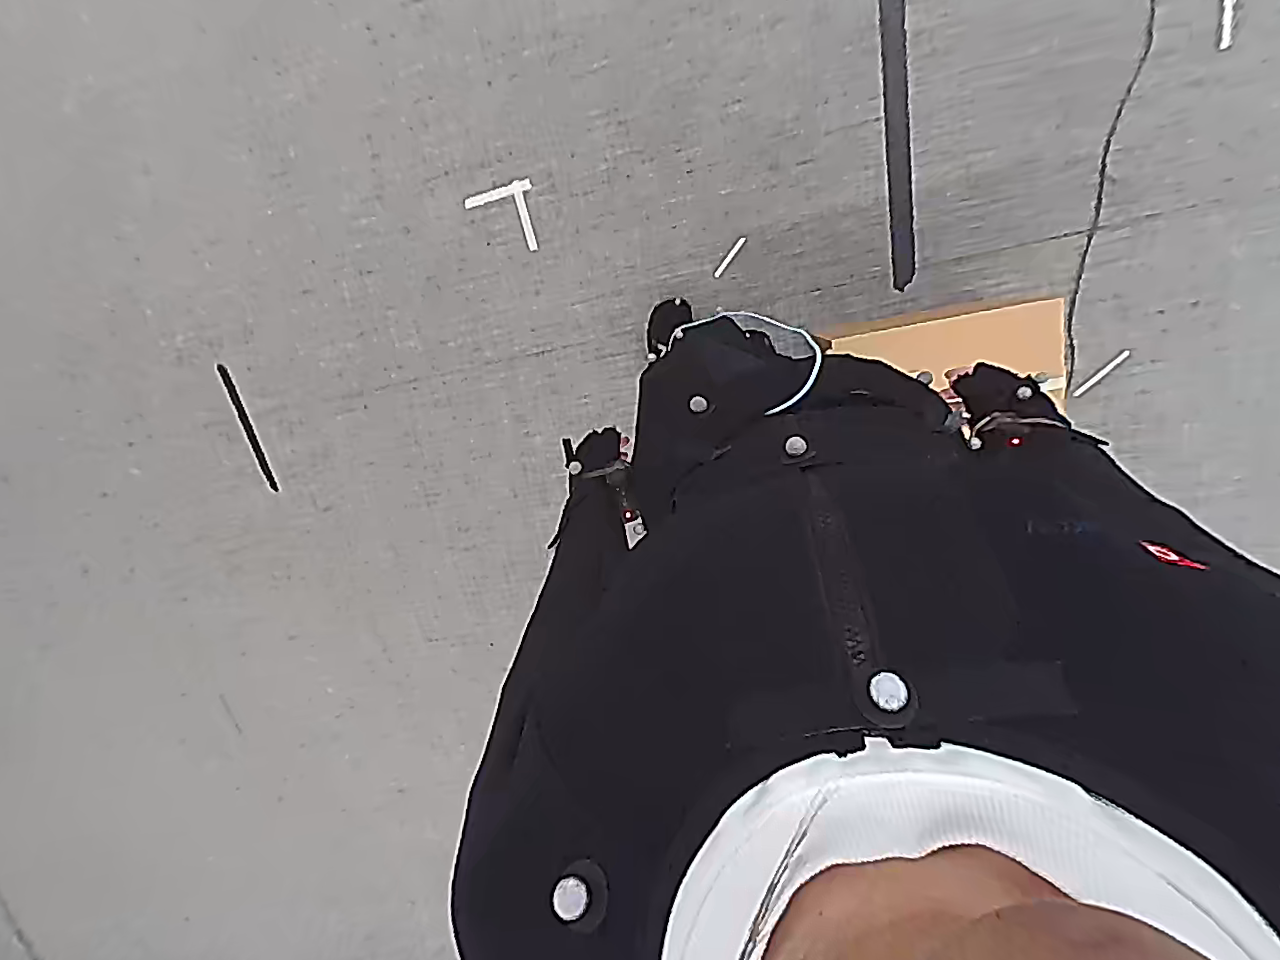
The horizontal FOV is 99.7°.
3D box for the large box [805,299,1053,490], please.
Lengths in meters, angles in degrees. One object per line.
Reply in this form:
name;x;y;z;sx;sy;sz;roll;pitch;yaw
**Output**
large box;0.600;-0.197;1.186;0.408;0.320;0.320;-8;105;12
